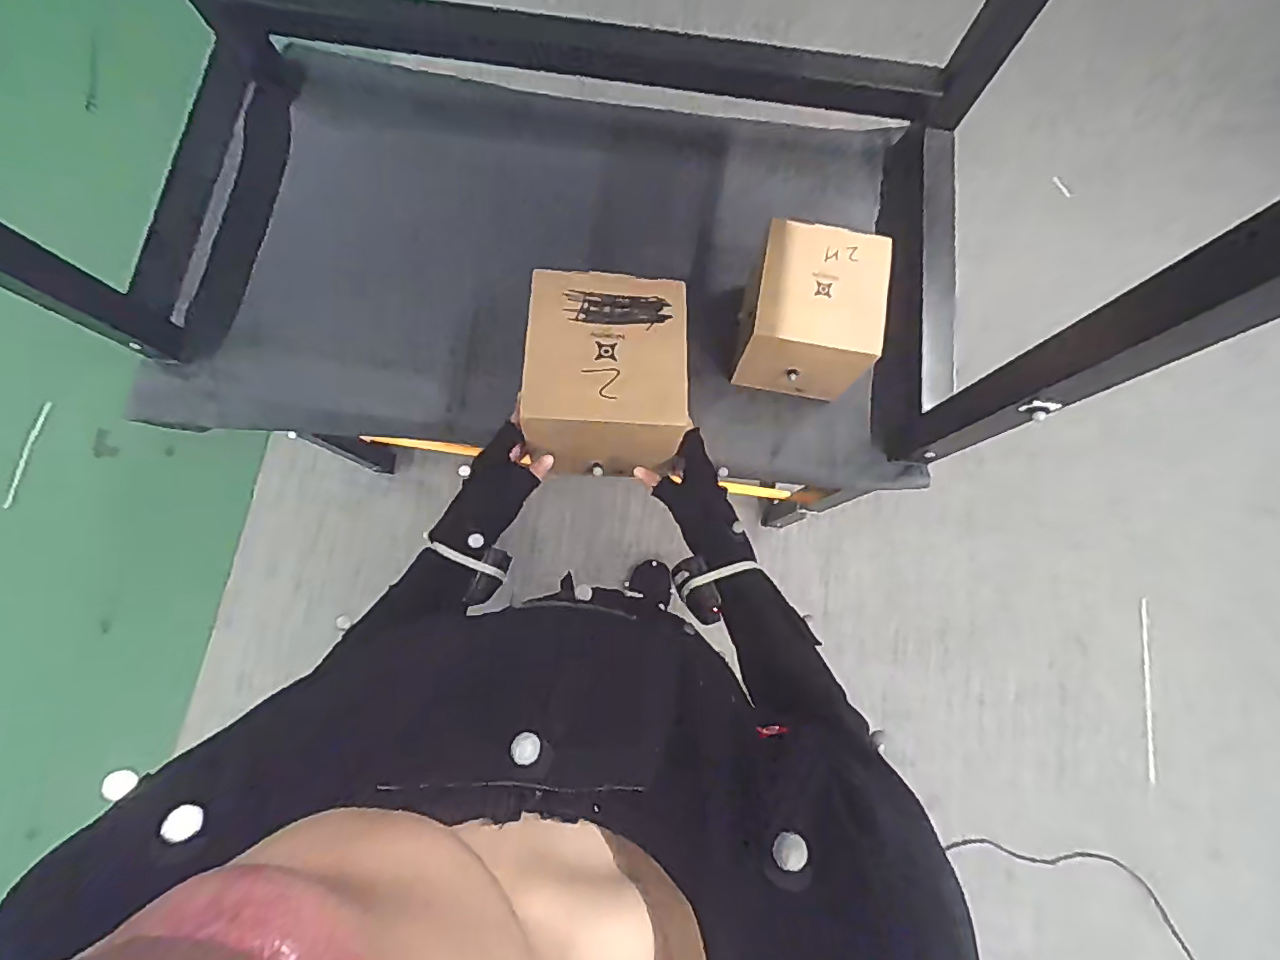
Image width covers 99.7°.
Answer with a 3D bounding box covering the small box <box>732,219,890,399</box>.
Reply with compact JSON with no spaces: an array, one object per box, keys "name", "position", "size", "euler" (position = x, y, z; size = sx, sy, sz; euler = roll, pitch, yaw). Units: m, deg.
[{"name":"small box","position":[0.235,-0.234,0.780],"size":[0.168,0.176,0.179],"euler":[11,77,1]}]
